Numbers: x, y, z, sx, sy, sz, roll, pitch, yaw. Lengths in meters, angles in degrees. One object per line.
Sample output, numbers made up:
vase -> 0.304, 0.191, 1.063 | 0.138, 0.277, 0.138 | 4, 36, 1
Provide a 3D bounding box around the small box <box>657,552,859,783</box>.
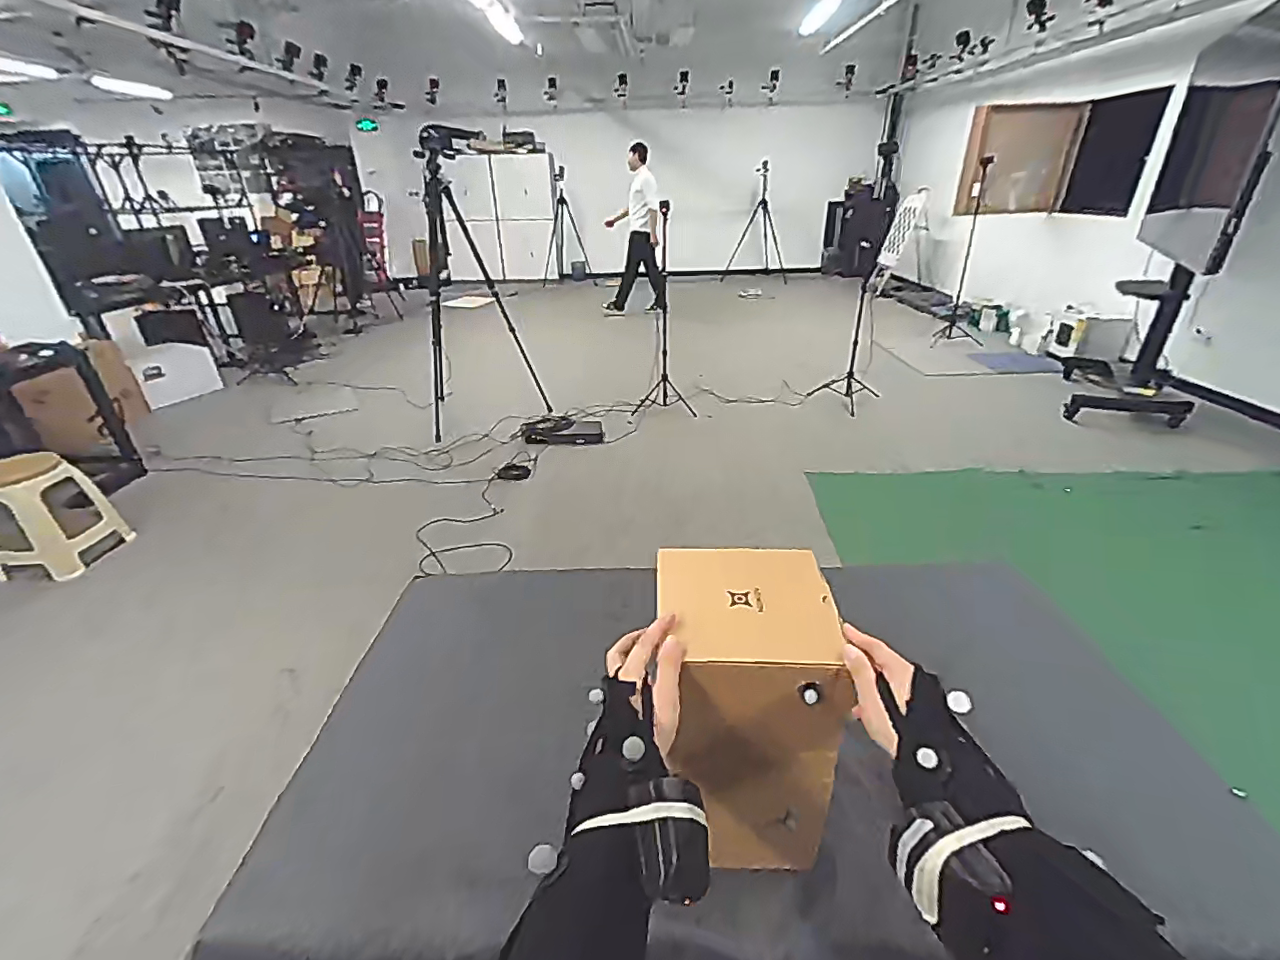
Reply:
small box -> 0.107, 0.192, 0.570 | 0.179, 0.176, 0.168 | 0, 28, 2
